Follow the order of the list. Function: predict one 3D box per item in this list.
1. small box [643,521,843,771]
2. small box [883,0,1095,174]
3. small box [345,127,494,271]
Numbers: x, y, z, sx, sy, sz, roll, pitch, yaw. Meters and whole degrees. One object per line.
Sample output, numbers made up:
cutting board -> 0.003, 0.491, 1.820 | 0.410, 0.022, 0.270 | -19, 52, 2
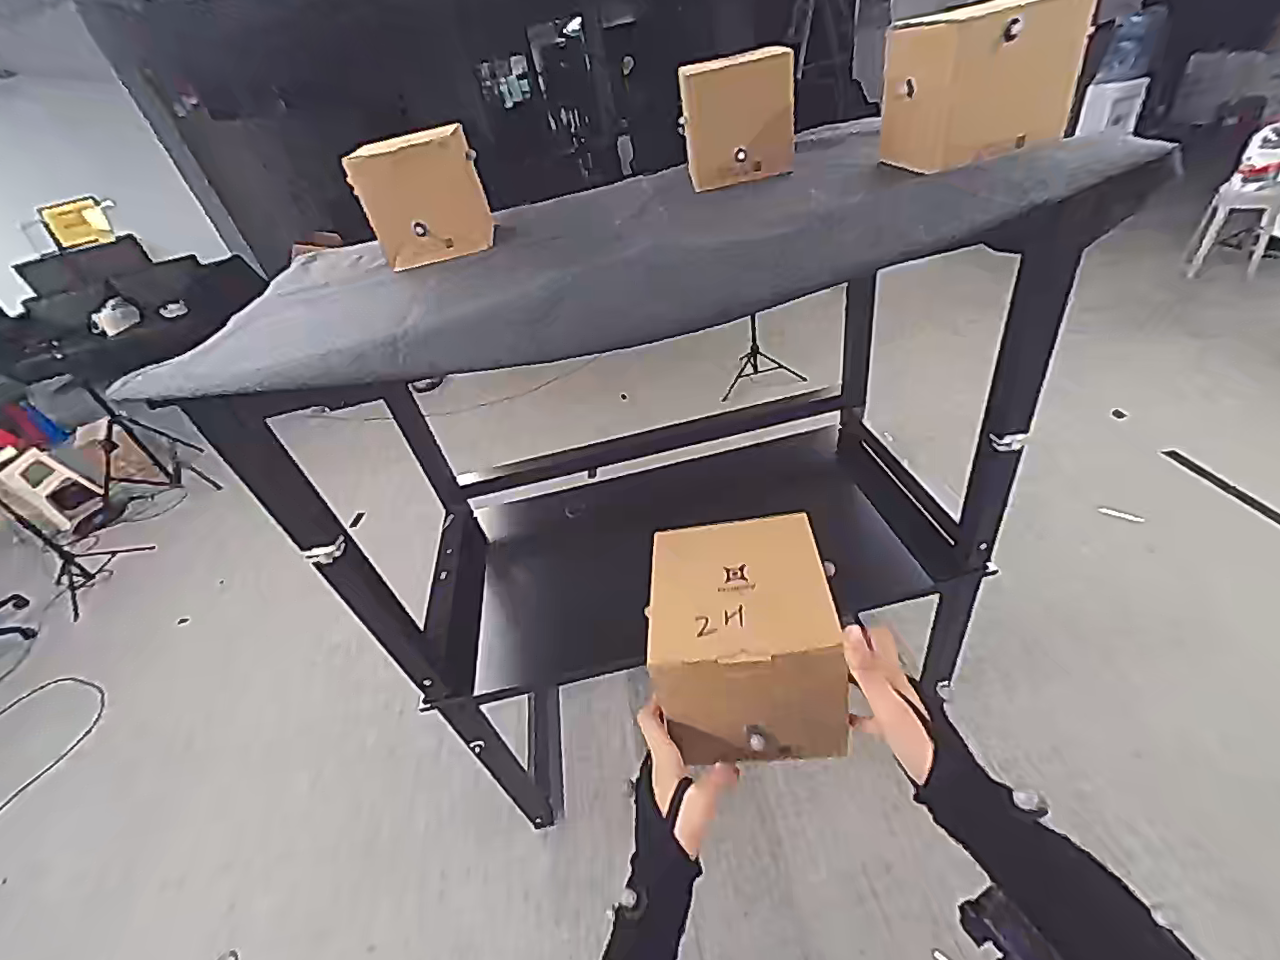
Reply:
small box -> 0.105, 0.168, 0.556 | 0.168, 0.176, 0.179 | -9, 33, 11
small box -> 0.448, -0.528, 0.729 | 0.168, 0.176, 0.179 | -14, 37, 1
small box -> -0.354, -0.469, 0.904 | 0.168, 0.176, 0.179 | -15, 39, -2
